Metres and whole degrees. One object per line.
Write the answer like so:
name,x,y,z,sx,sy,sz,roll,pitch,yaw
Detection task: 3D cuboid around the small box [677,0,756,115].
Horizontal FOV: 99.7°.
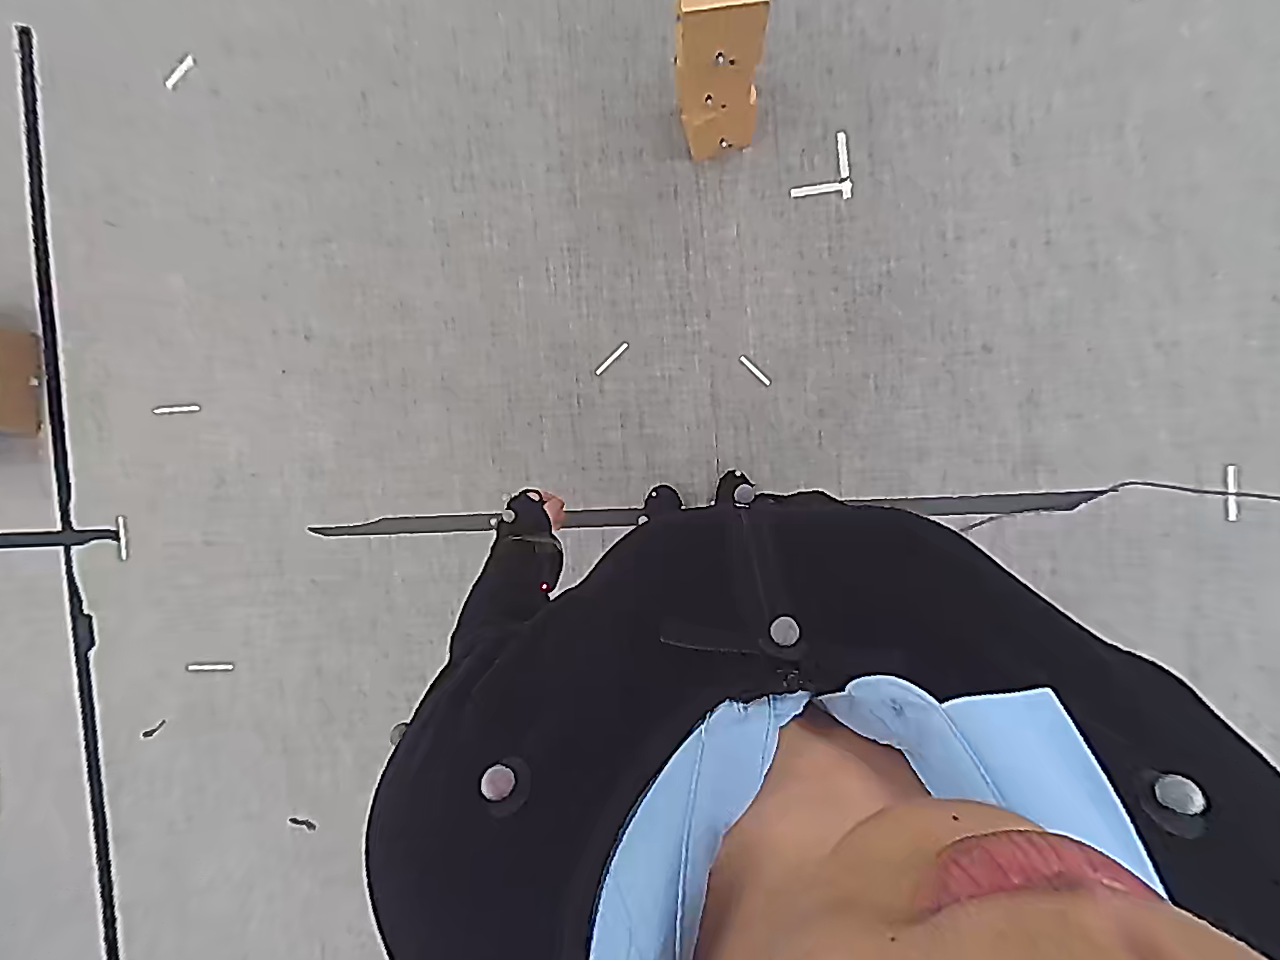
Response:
small box,0.168,-0.971,1.221,0.168,0.176,0.179,-3,92,6

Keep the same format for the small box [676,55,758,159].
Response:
small box,0.192,-0.969,1.383,0.168,0.176,0.179,-15,90,7
